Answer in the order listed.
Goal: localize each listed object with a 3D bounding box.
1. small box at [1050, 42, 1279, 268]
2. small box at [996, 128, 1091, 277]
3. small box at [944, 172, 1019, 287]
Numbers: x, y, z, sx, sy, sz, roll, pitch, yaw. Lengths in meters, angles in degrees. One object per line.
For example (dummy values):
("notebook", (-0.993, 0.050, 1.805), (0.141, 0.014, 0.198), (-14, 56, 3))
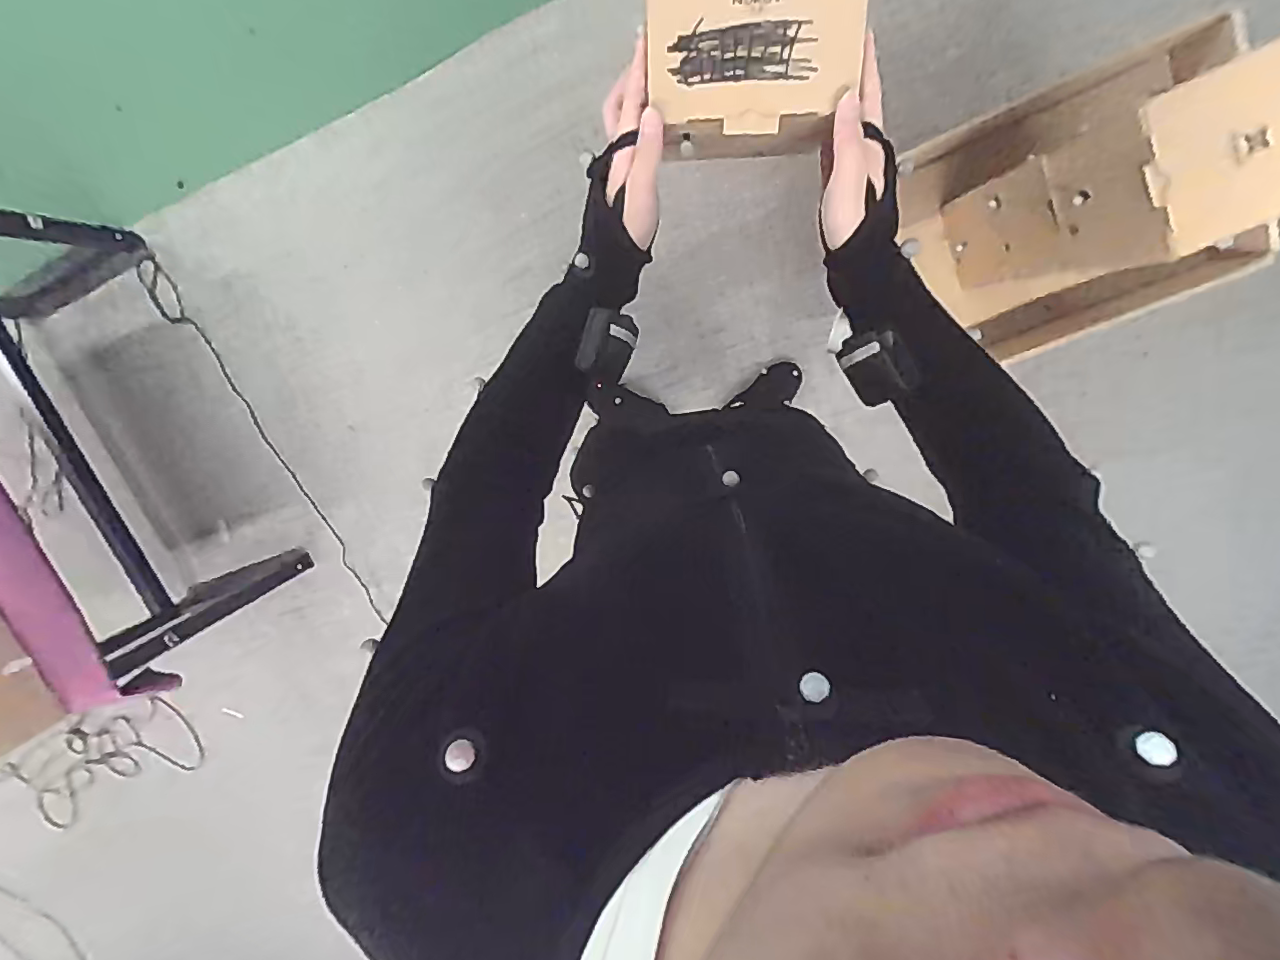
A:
("small box", (0.634, -0.367, 0.628), (0.179, 0.176, 0.168), (-23, 102, 12))
("small box", (0.653, -0.412, 0.783), (0.179, 0.176, 0.168), (-23, 101, 10))
("small box", (0.670, -0.453, 0.941), (0.179, 0.176, 0.168), (-20, 101, 11))
